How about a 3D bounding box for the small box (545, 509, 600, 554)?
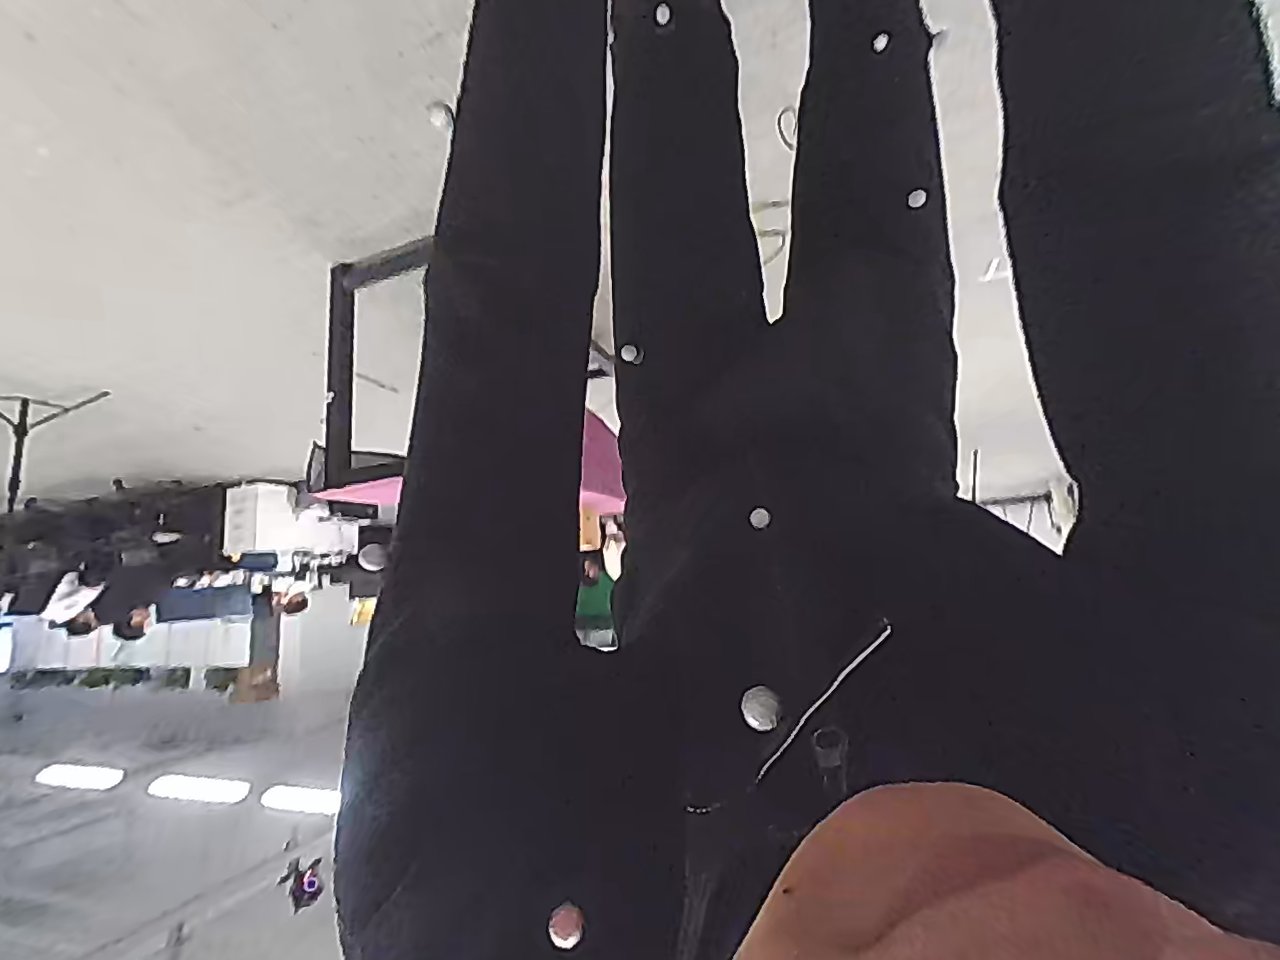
[{"bbox_3d":[-0.283,0.219,2.269,0.179,0.176,0.168,-10,169,28],"label":"small box"}]
